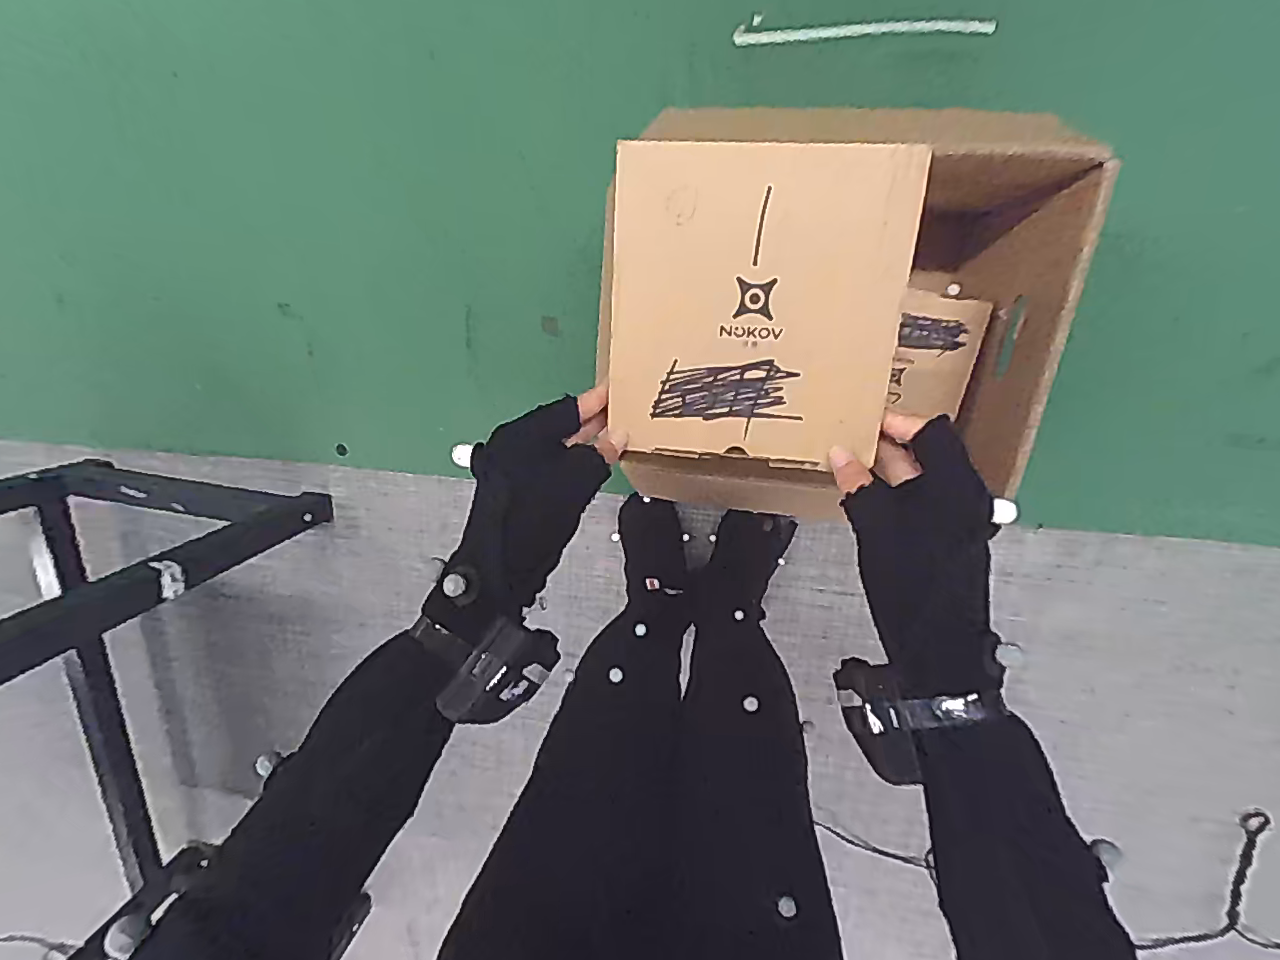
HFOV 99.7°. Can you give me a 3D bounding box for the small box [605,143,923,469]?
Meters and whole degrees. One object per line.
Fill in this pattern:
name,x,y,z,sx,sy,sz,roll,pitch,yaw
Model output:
small box,0.075,-0.121,0.391,0.168,0.176,0.179,6,108,8
